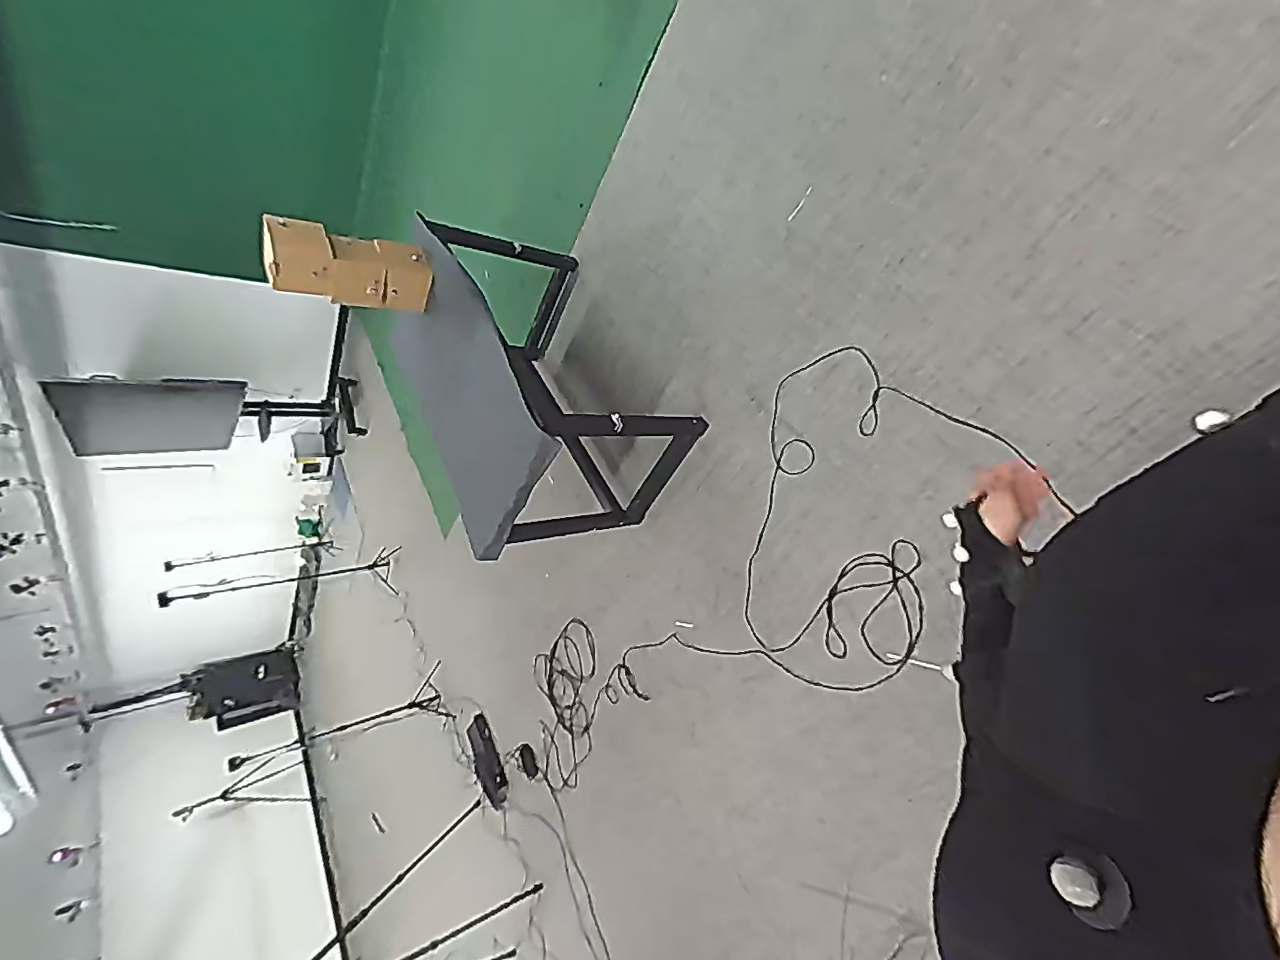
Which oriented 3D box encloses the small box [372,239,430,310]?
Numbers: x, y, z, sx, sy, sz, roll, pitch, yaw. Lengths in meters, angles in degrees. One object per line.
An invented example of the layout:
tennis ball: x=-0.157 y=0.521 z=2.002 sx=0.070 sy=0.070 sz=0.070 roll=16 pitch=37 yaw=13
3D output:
small box: x=-0.898 y=-0.756 z=2.007 sx=0.179 sy=0.176 sz=0.168 roll=-51 pitch=58 yaw=39

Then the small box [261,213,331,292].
small box: x=-1.137 y=-0.743 z=1.784 sx=0.179 sy=0.176 sz=0.168 roll=58 pitch=135 yaw=26

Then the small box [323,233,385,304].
small box: x=-1.015 y=-0.734 z=1.897 sx=0.179 sy=0.176 sz=0.168 roll=53 pitch=133 yaw=28
